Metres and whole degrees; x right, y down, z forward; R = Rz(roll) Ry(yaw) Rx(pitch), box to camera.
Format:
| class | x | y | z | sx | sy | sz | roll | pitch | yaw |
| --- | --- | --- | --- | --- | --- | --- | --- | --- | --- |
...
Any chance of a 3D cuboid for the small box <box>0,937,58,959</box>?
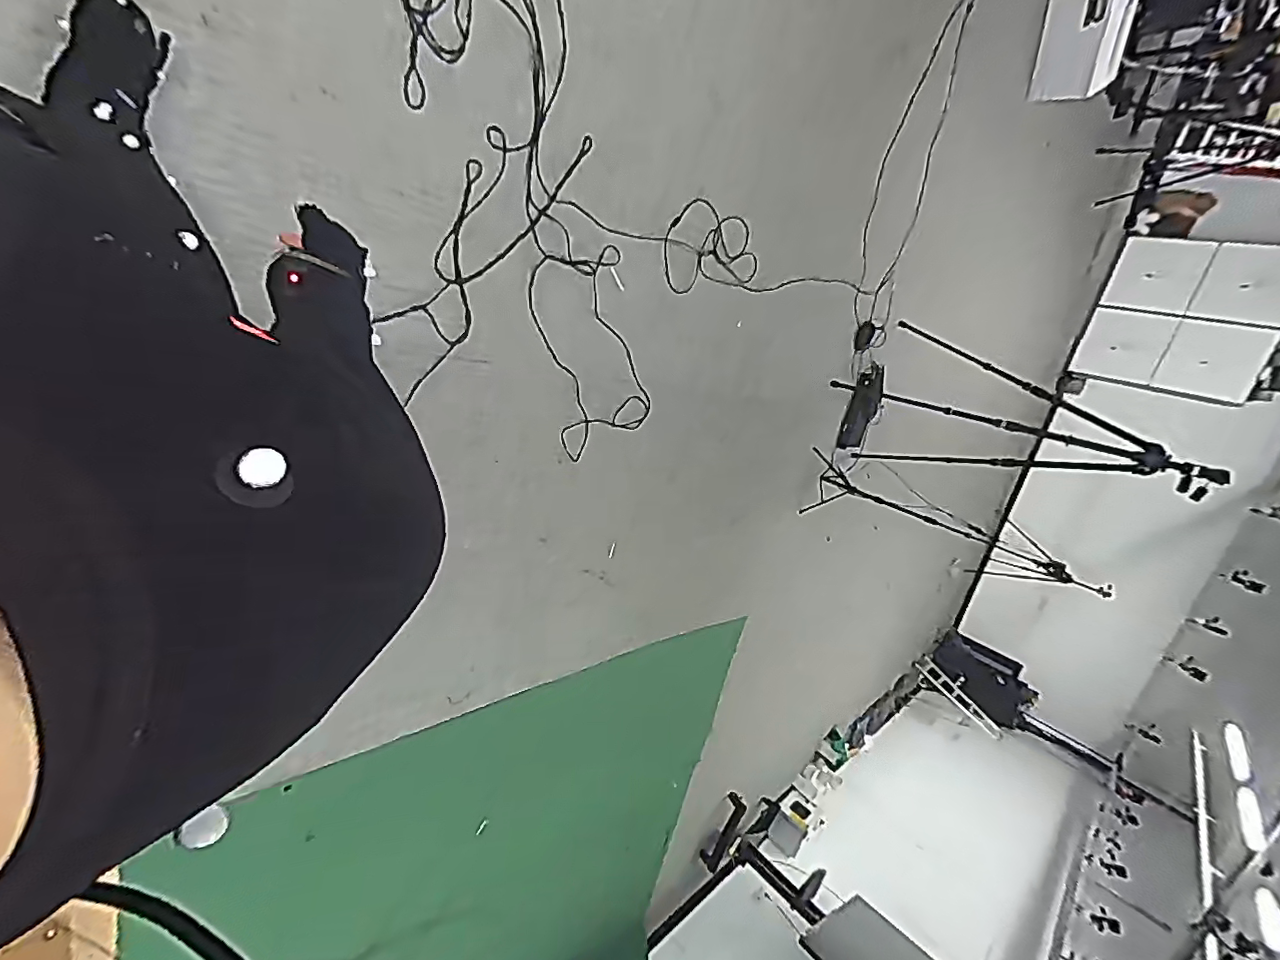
| class | x | y | z | sx | sy | sz | roll | pitch | yaw |
| --- | --- | --- | --- | --- | --- | --- | --- | --- | --- |
| small box | -1.459 | 1.208 | 1.238 | 0.168 | 0.176 | 0.179 | 2 | 111 | -48 |
